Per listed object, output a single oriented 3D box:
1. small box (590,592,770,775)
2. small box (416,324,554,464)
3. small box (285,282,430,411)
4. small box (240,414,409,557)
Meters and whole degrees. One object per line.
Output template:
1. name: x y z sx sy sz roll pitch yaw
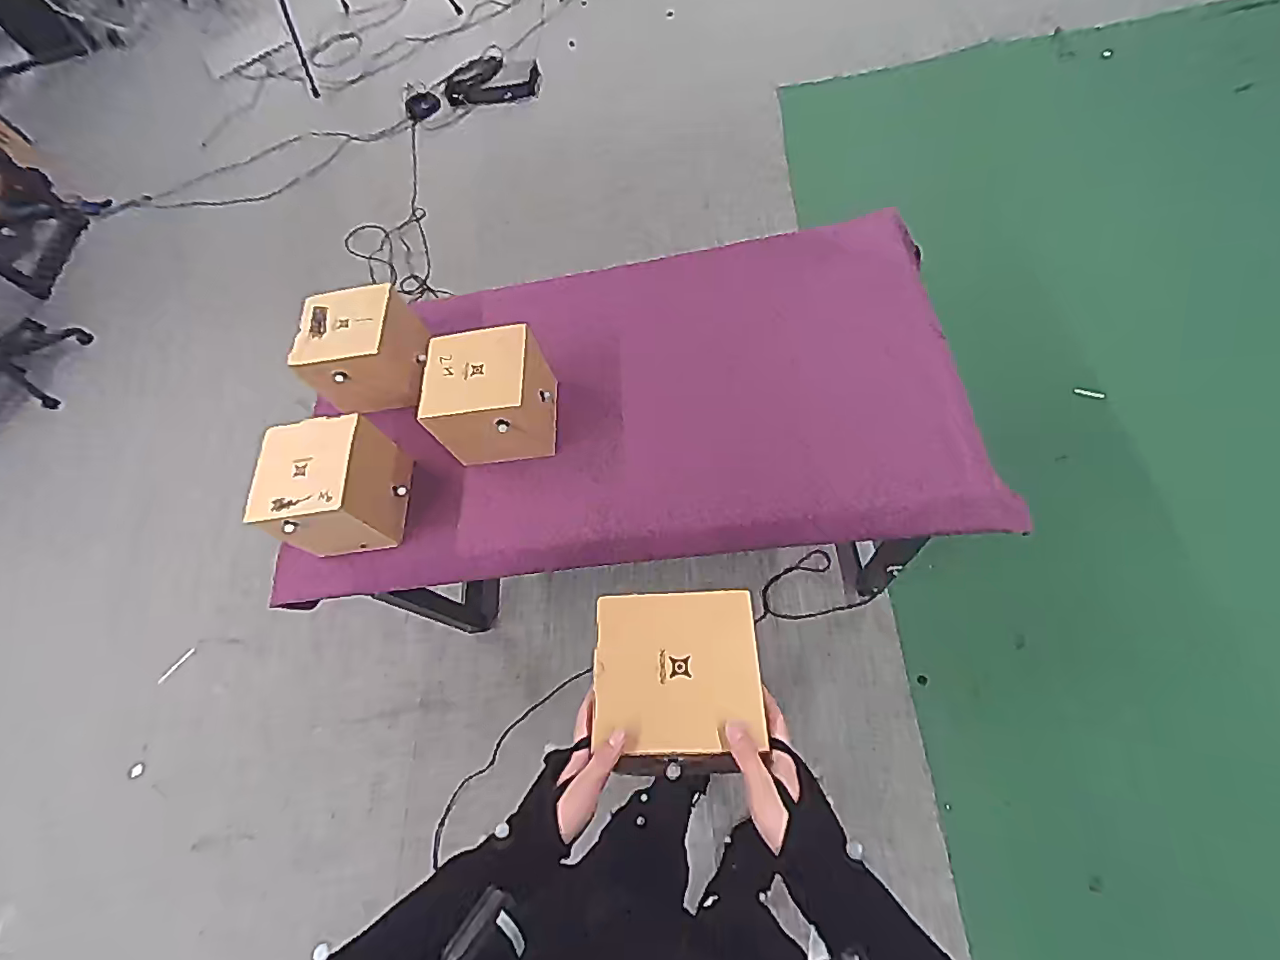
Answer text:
1. small box: 0.046 0.240 0.627 0.179 0.176 0.168 -5 56 6
2. small box: -0.254 -0.141 0.937 0.179 0.176 0.168 -6 64 8
3. small box: -0.526 -0.247 1.039 0.179 0.176 0.168 -6 65 7
4. small box: -0.515 0.014 0.913 0.168 0.176 0.179 -8 62 7
